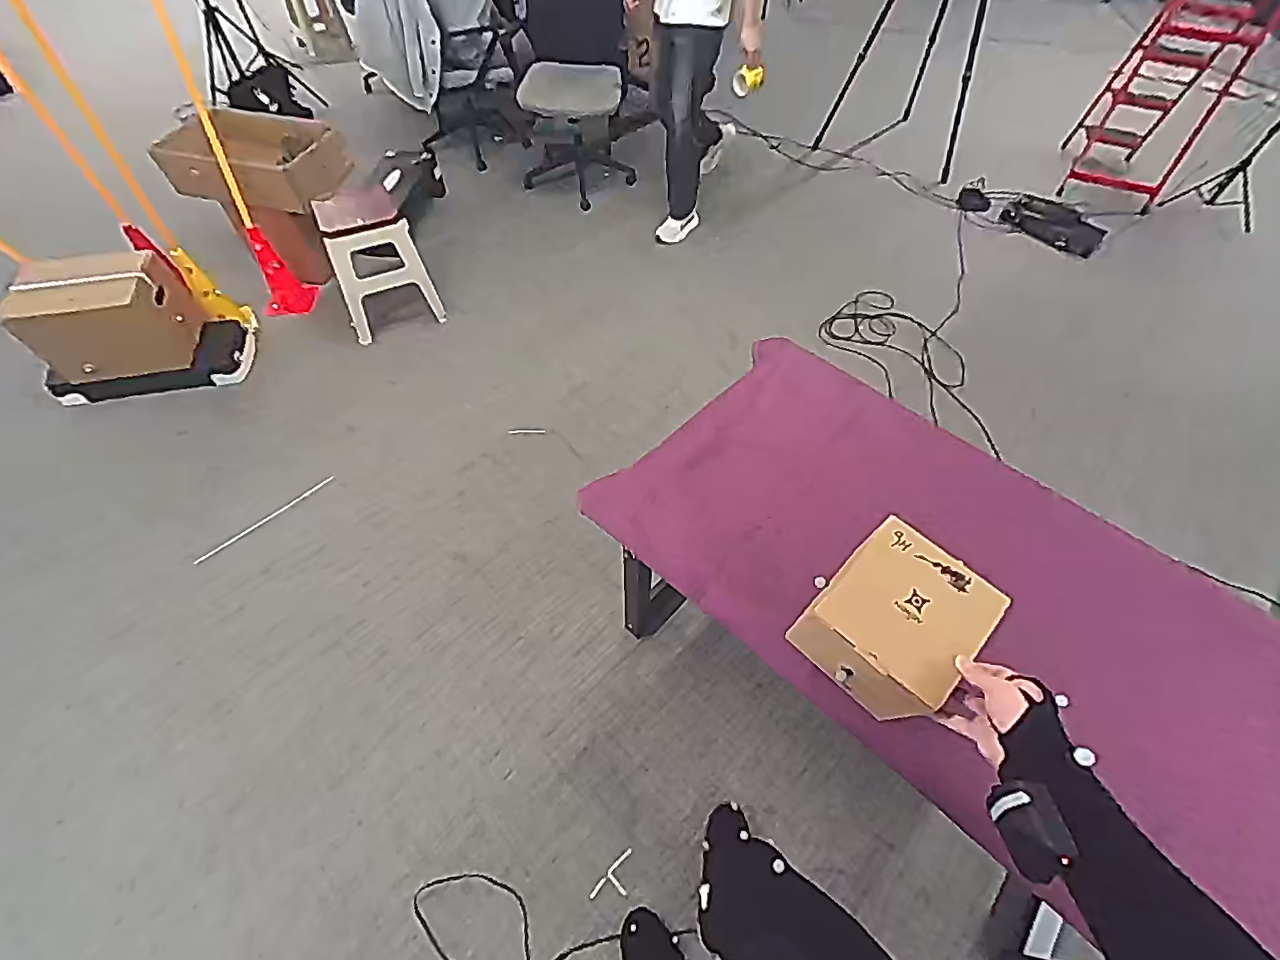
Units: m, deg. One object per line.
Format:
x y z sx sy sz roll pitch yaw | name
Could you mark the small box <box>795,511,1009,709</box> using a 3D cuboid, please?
0.325 0.179 0.713 0.168 0.176 0.179 41 73 19 | small box
